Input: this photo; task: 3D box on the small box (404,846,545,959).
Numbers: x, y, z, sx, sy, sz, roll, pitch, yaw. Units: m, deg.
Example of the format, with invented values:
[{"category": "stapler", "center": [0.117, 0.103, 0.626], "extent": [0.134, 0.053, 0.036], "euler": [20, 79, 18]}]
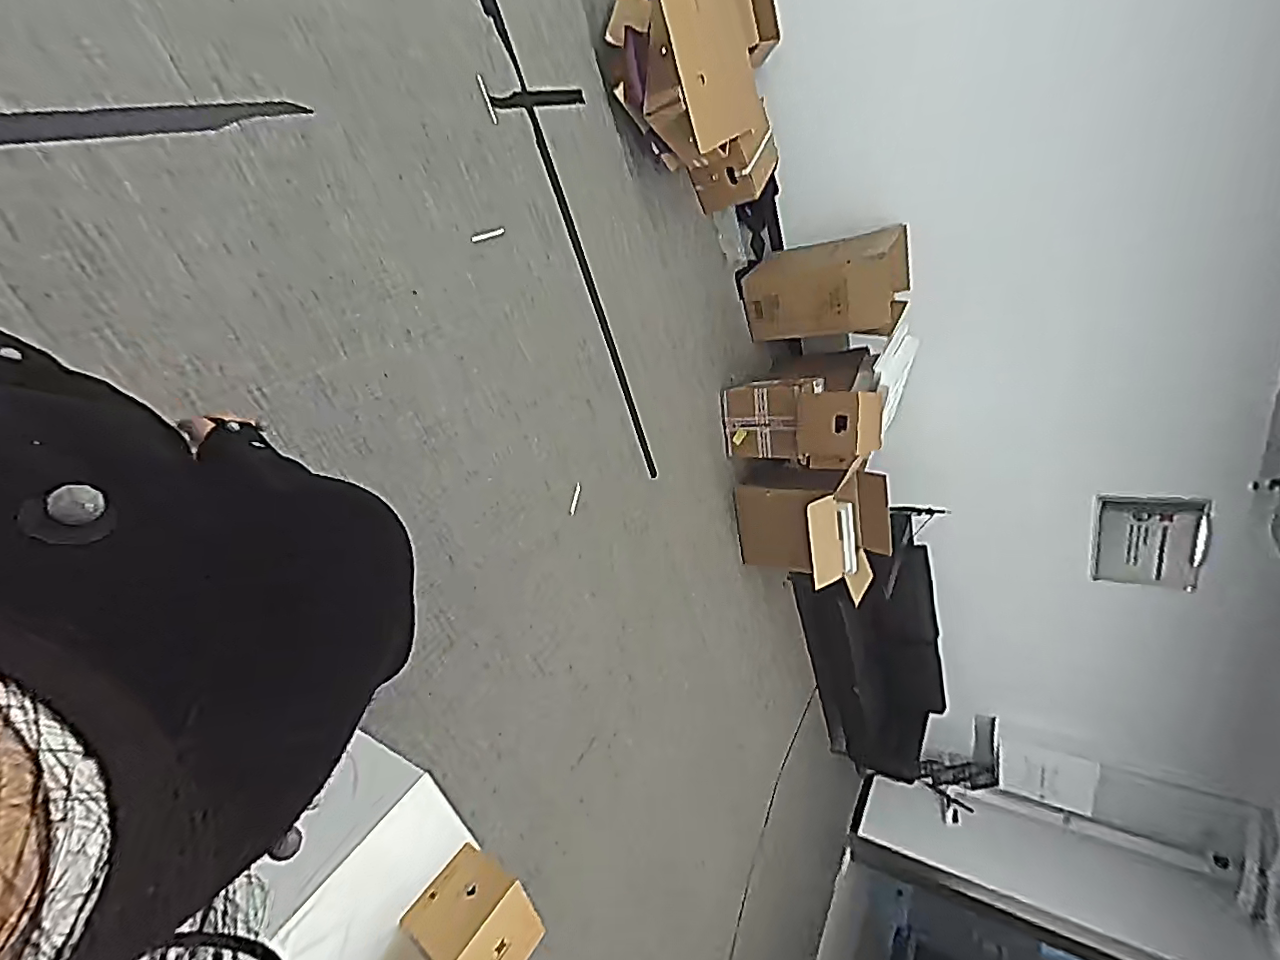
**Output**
[{"category": "small box", "center": [-0.322, 0.858, 1.051], "extent": [0.168, 0.176, 0.179], "euler": [-39, 122, -45]}]
